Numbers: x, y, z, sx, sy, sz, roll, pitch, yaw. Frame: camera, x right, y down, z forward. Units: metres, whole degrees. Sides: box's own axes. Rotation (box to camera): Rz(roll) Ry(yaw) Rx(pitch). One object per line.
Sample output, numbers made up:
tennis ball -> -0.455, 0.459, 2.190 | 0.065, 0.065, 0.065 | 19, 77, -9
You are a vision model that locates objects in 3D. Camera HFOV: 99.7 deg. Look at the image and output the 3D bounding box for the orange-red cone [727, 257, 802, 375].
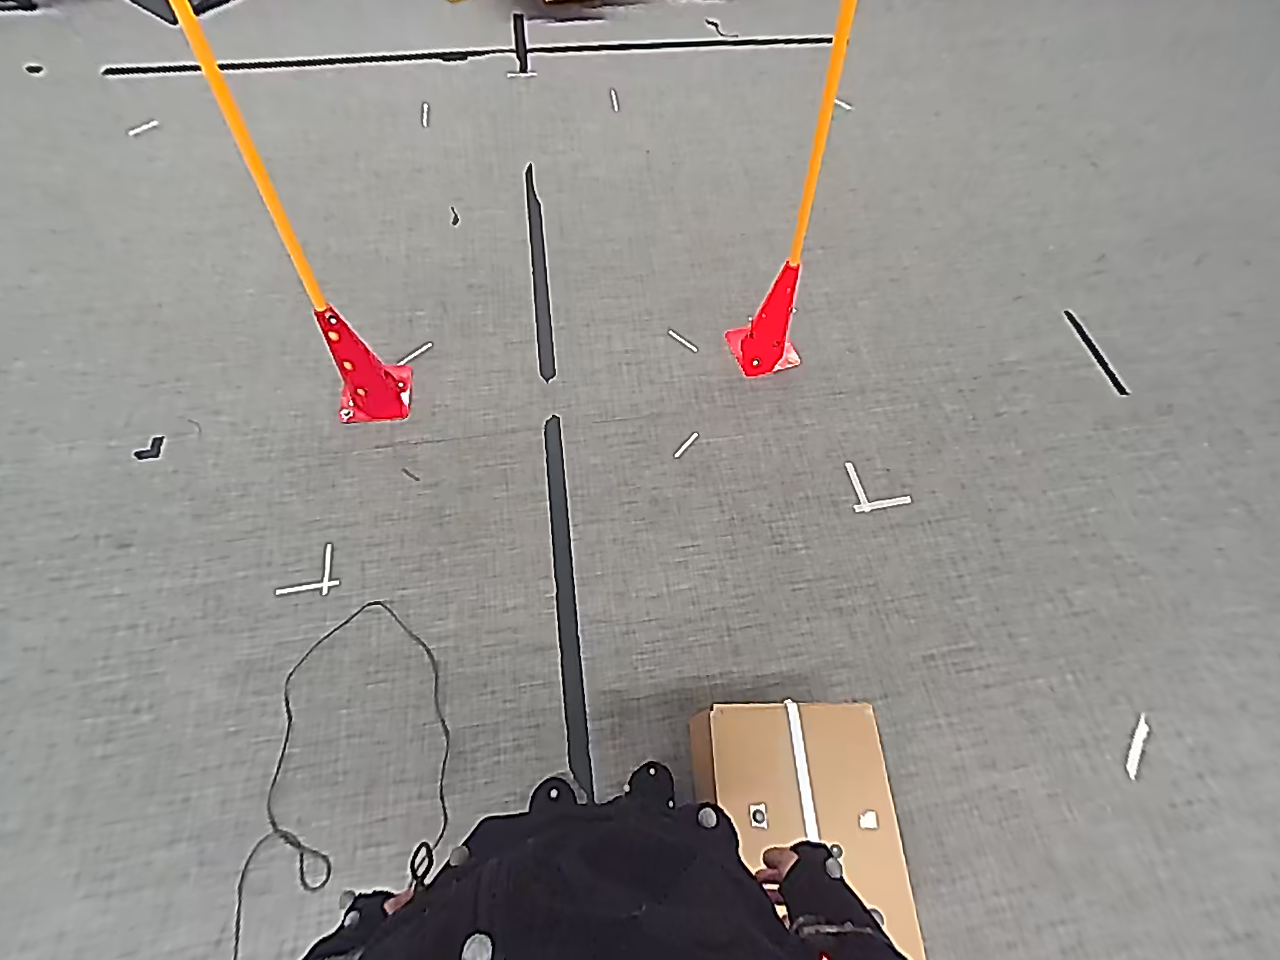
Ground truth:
orange-red cone -> 0.407, -0.506, 1.601 | 0.199, 0.360, 0.198 | -14, 66, -11
